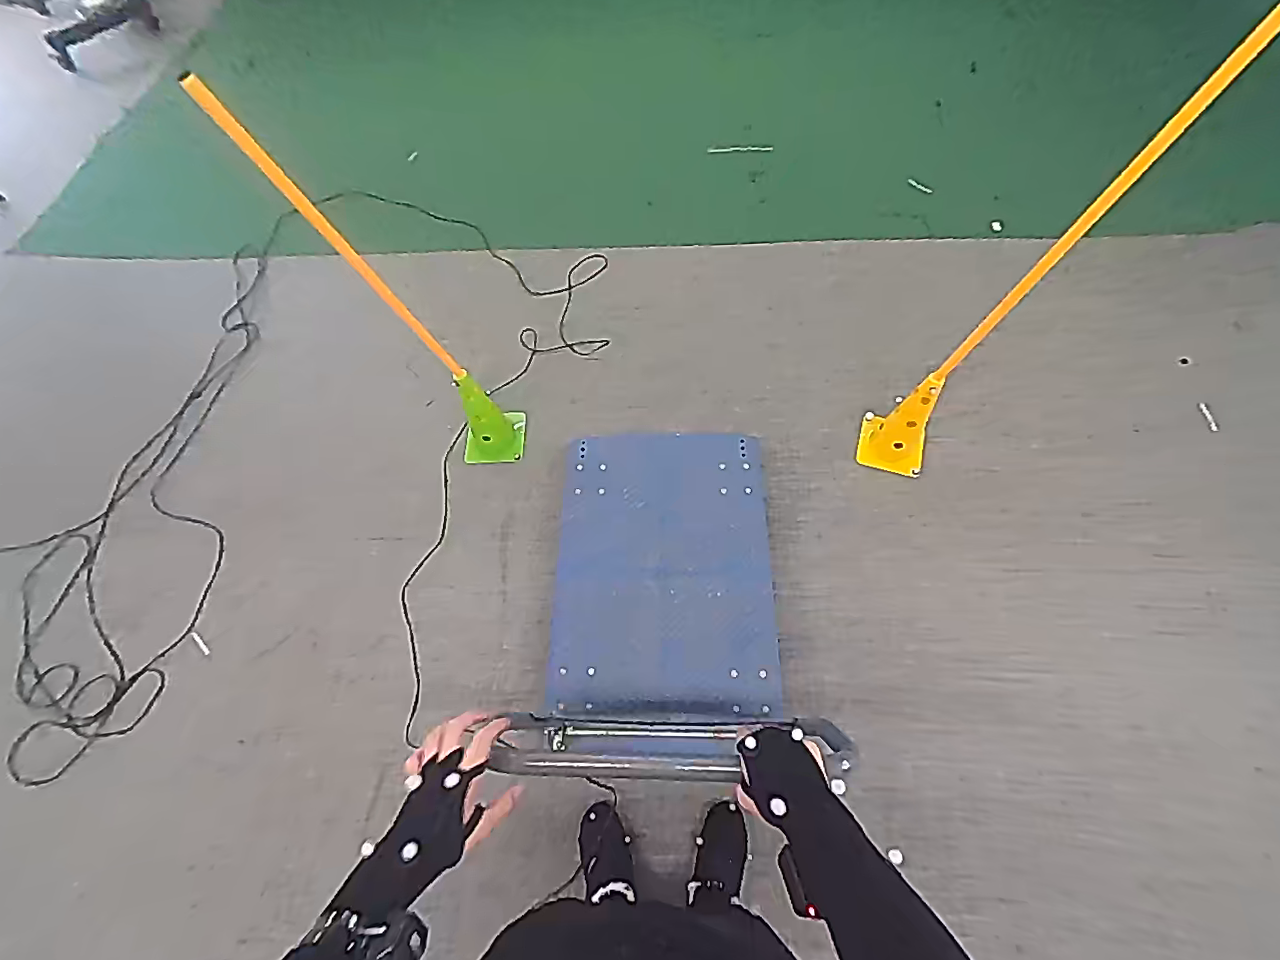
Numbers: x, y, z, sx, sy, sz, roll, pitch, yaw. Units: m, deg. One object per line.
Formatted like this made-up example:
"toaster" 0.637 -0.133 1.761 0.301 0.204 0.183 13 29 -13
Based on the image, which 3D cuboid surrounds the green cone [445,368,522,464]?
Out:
"green cone" -0.522 -0.229 1.711 0.202 0.368 0.200 -4 62 3
